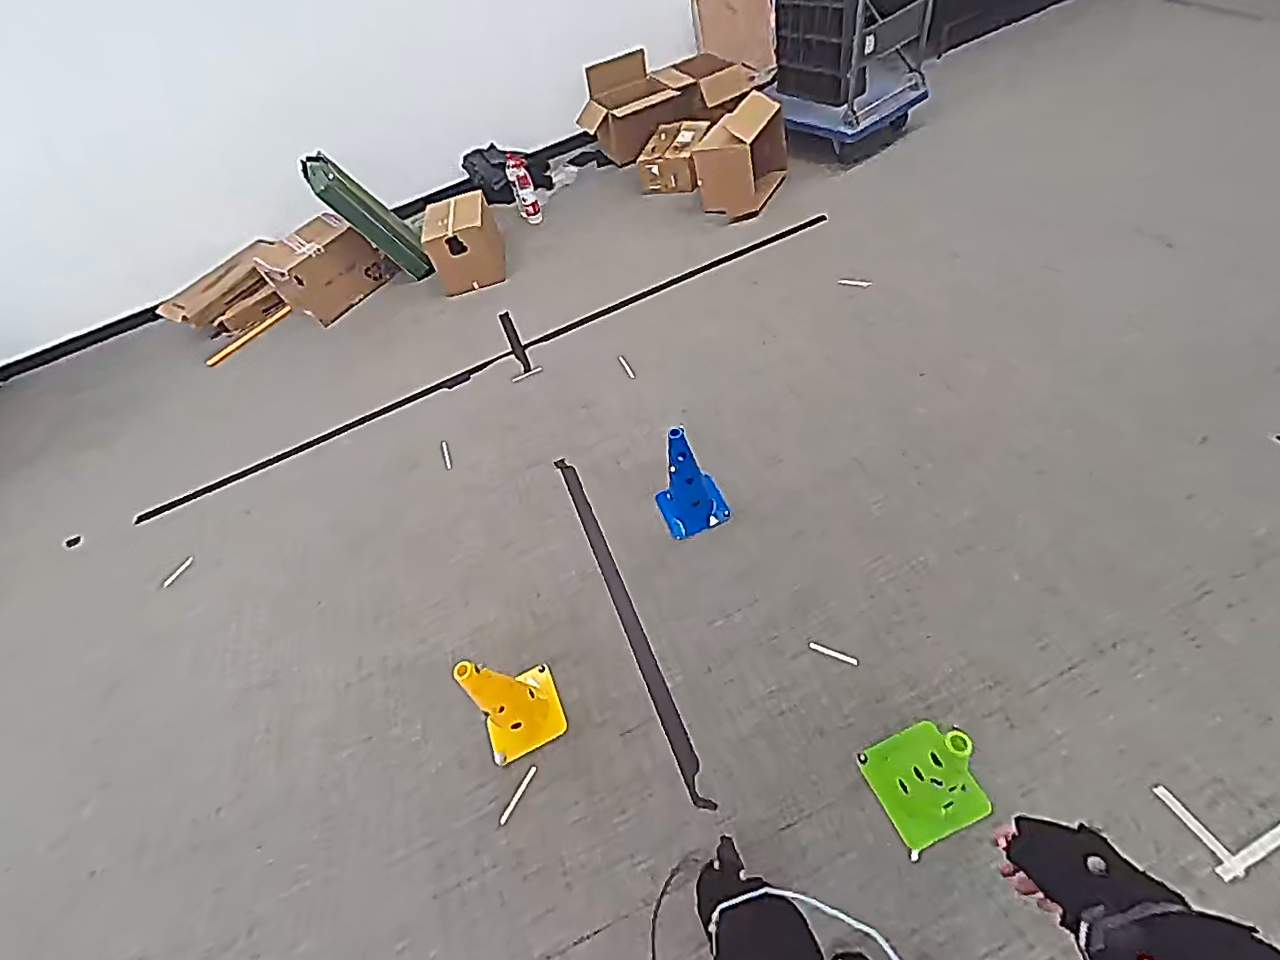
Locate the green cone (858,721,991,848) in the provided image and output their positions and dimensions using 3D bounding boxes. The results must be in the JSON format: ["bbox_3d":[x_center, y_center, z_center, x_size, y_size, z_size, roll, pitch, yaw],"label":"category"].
[{"bbox_3d":[0.573,0.545,1.034,0.202,0.368,0.200,-24,51,-5],"label":"green cone"}]

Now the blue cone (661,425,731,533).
[{"bbox_3d":[0.141,-0.022,1.614,0.192,0.380,0.193,-21,51,-3],"label":"blue cone"}]
